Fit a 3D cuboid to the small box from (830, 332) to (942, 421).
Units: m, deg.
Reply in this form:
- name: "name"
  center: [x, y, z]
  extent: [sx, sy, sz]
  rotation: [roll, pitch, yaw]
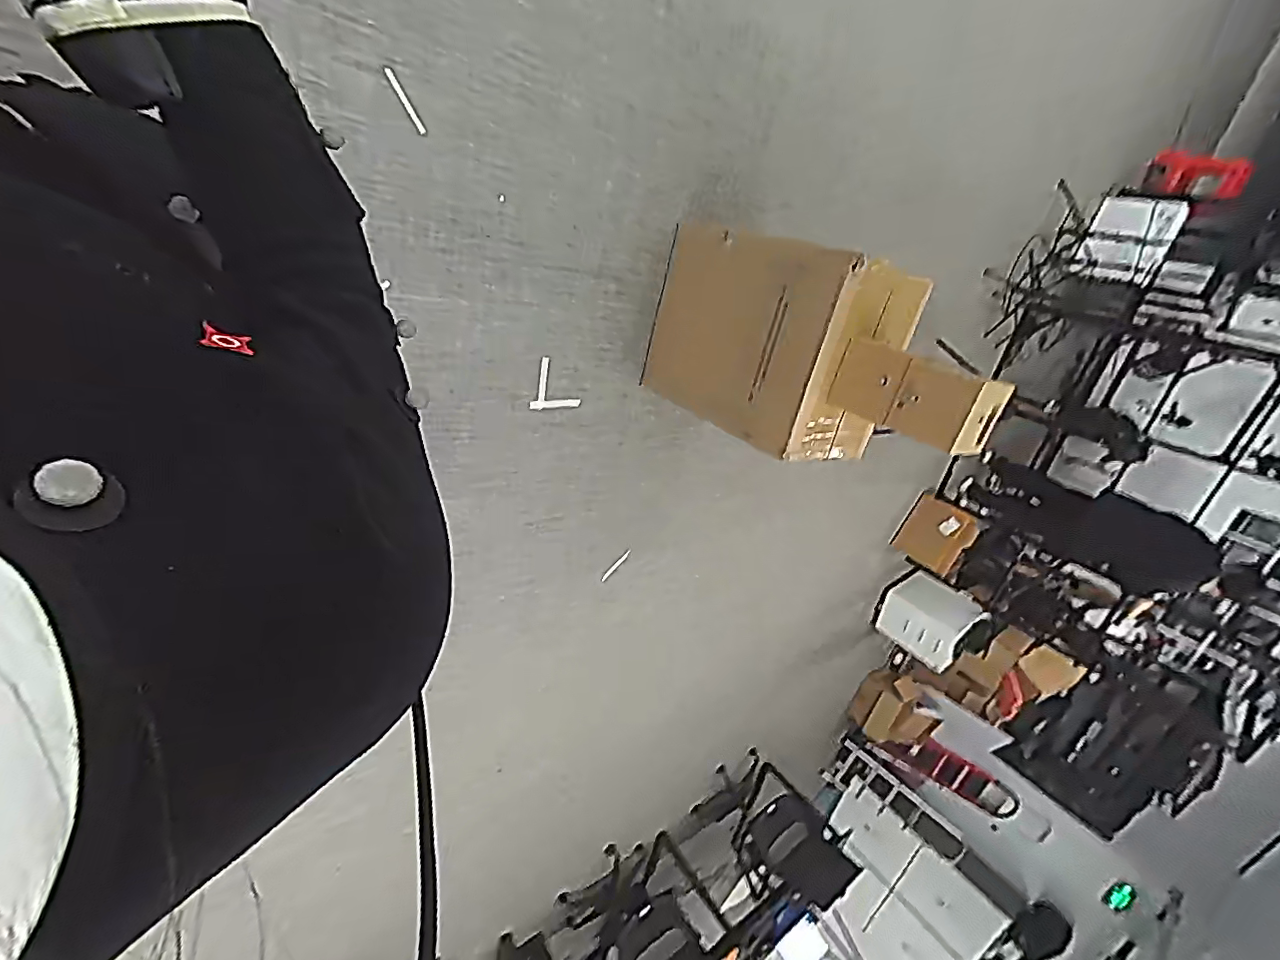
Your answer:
- name: "small box"
  center: [0.608, -0.259, 1.353]
  extent: [0.168, 0.176, 0.179]
  rotation: [-4, 120, -39]
